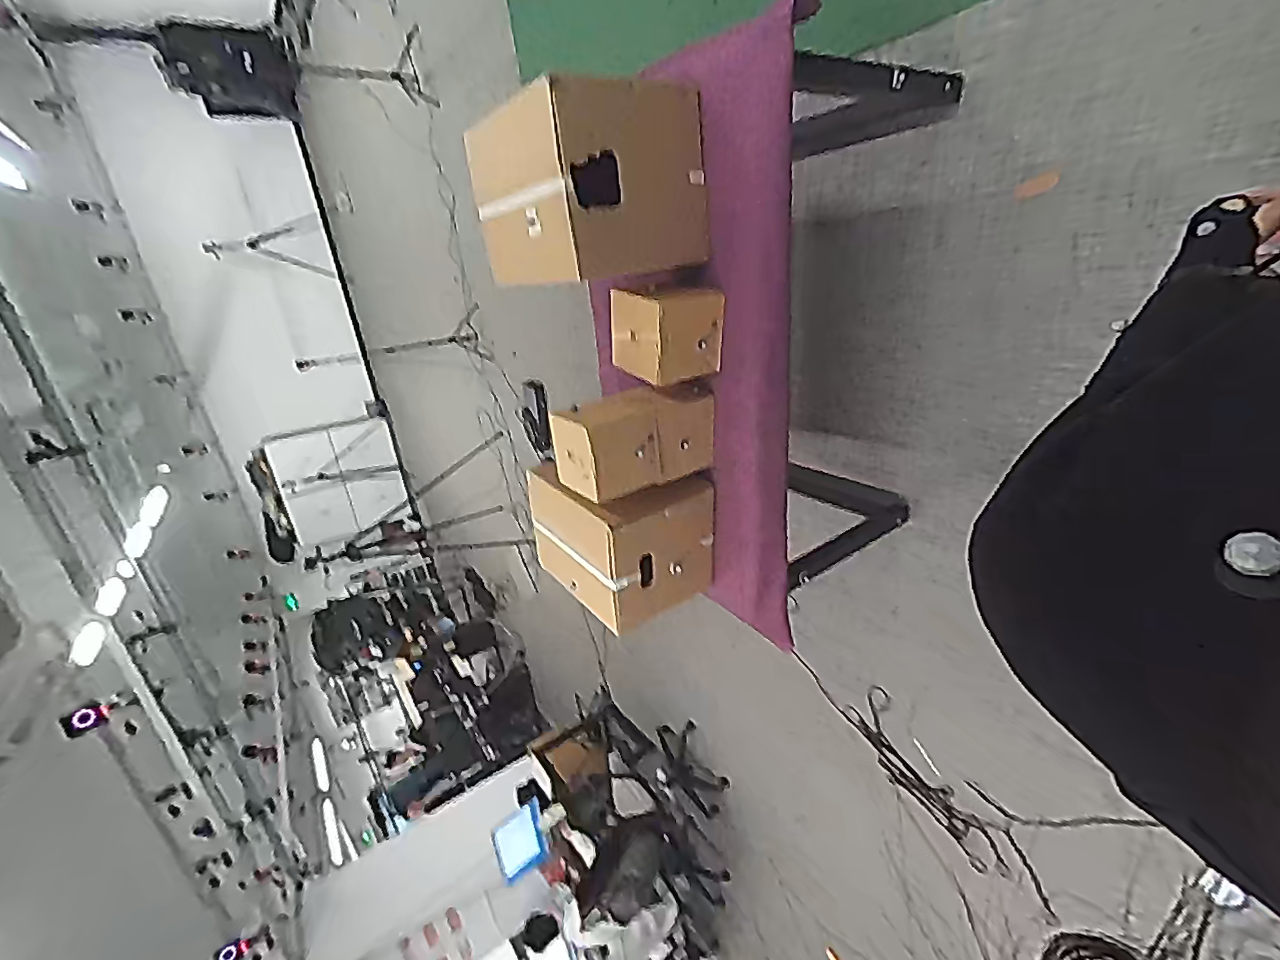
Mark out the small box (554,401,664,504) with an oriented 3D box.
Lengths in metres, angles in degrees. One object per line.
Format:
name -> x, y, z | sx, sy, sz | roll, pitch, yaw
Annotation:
small box -> -0.066, -0.070, 1.179 | 0.179, 0.176, 0.168 | 24, 127, 51

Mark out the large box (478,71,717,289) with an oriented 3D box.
large box -> -0.095, -0.589, 1.128 | 0.408, 0.320, 0.320 | 22, 127, 51
